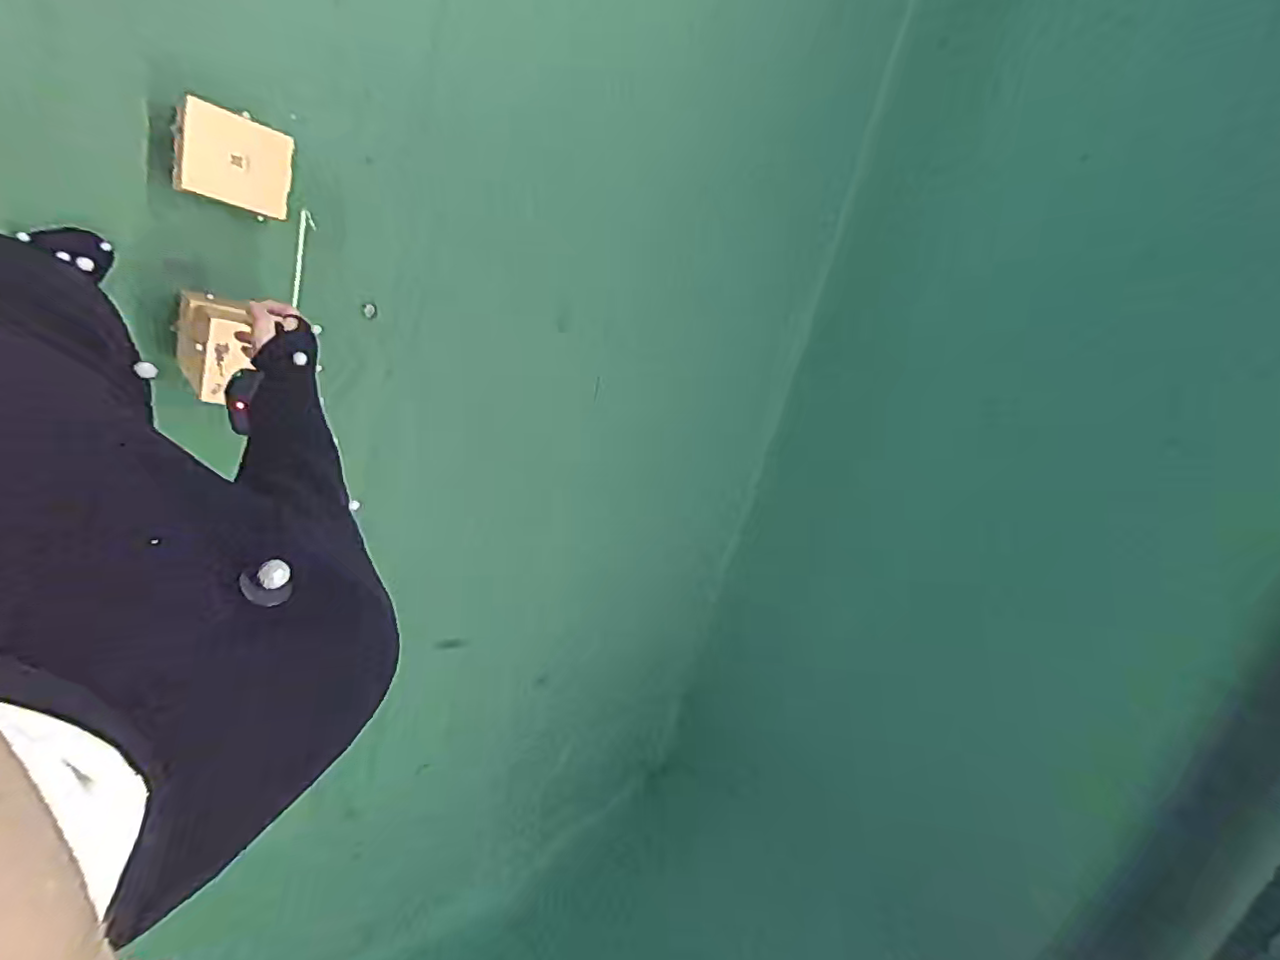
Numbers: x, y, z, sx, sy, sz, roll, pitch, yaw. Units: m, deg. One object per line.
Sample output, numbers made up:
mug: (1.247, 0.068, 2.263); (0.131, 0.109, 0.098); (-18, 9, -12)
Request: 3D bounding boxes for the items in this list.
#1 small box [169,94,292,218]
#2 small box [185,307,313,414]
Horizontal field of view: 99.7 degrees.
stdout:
small box: (-0.854, -0.660, 1.123); (0.179, 0.176, 0.168); (1, 110, -47)
small box: (-0.818, -0.251, 1.130); (0.179, 0.176, 0.168); (5, 108, -48)
